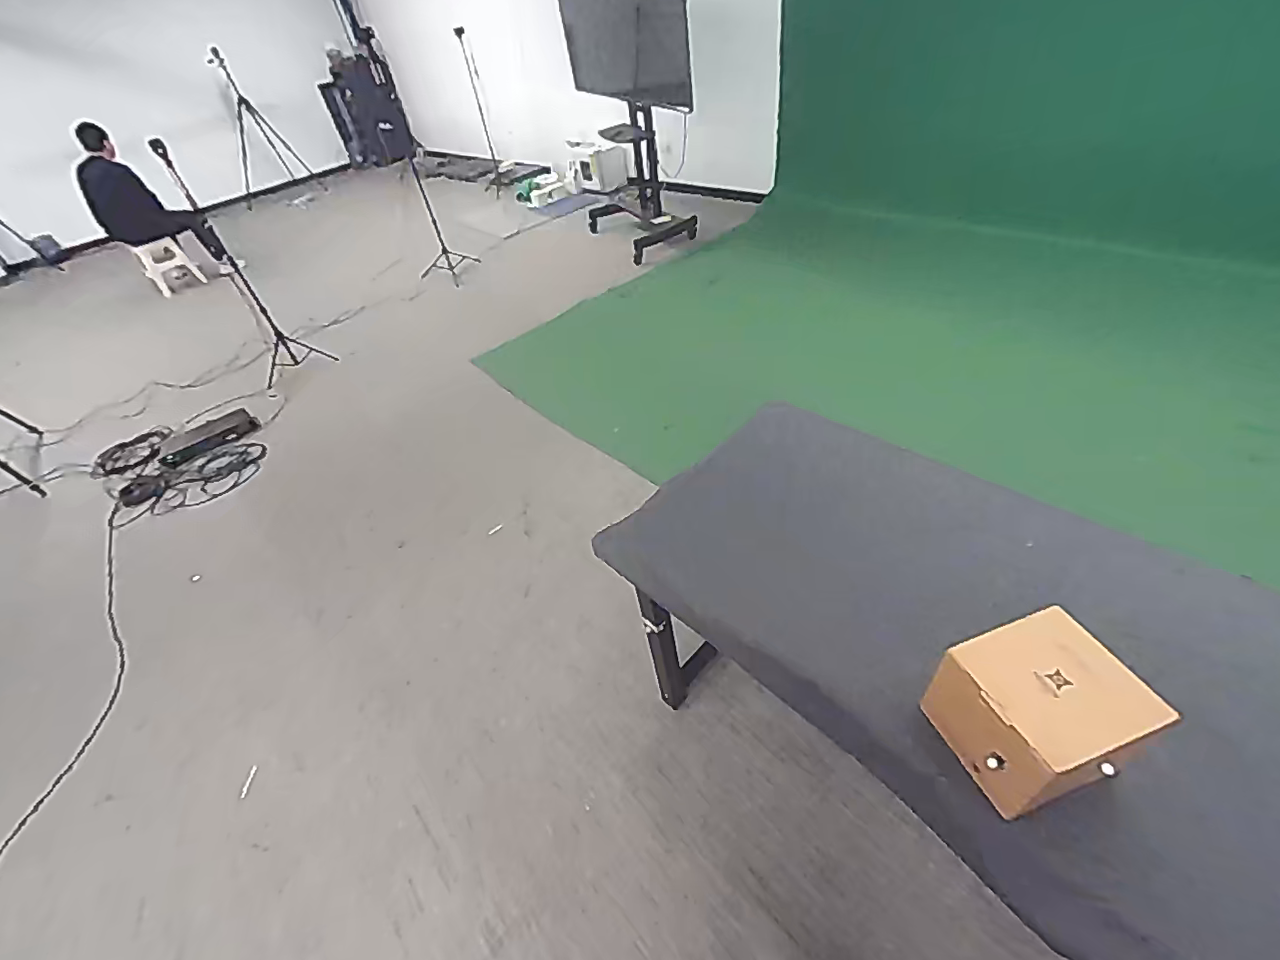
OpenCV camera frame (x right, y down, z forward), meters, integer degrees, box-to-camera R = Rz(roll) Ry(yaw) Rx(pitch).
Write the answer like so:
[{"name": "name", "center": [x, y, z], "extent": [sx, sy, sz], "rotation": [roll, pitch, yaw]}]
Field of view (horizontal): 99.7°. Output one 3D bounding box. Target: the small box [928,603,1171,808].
[{"name": "small box", "center": [0.514, 0.300, 0.715], "extent": [0.179, 0.176, 0.168], "rotation": [-18, 44, -9]}]
